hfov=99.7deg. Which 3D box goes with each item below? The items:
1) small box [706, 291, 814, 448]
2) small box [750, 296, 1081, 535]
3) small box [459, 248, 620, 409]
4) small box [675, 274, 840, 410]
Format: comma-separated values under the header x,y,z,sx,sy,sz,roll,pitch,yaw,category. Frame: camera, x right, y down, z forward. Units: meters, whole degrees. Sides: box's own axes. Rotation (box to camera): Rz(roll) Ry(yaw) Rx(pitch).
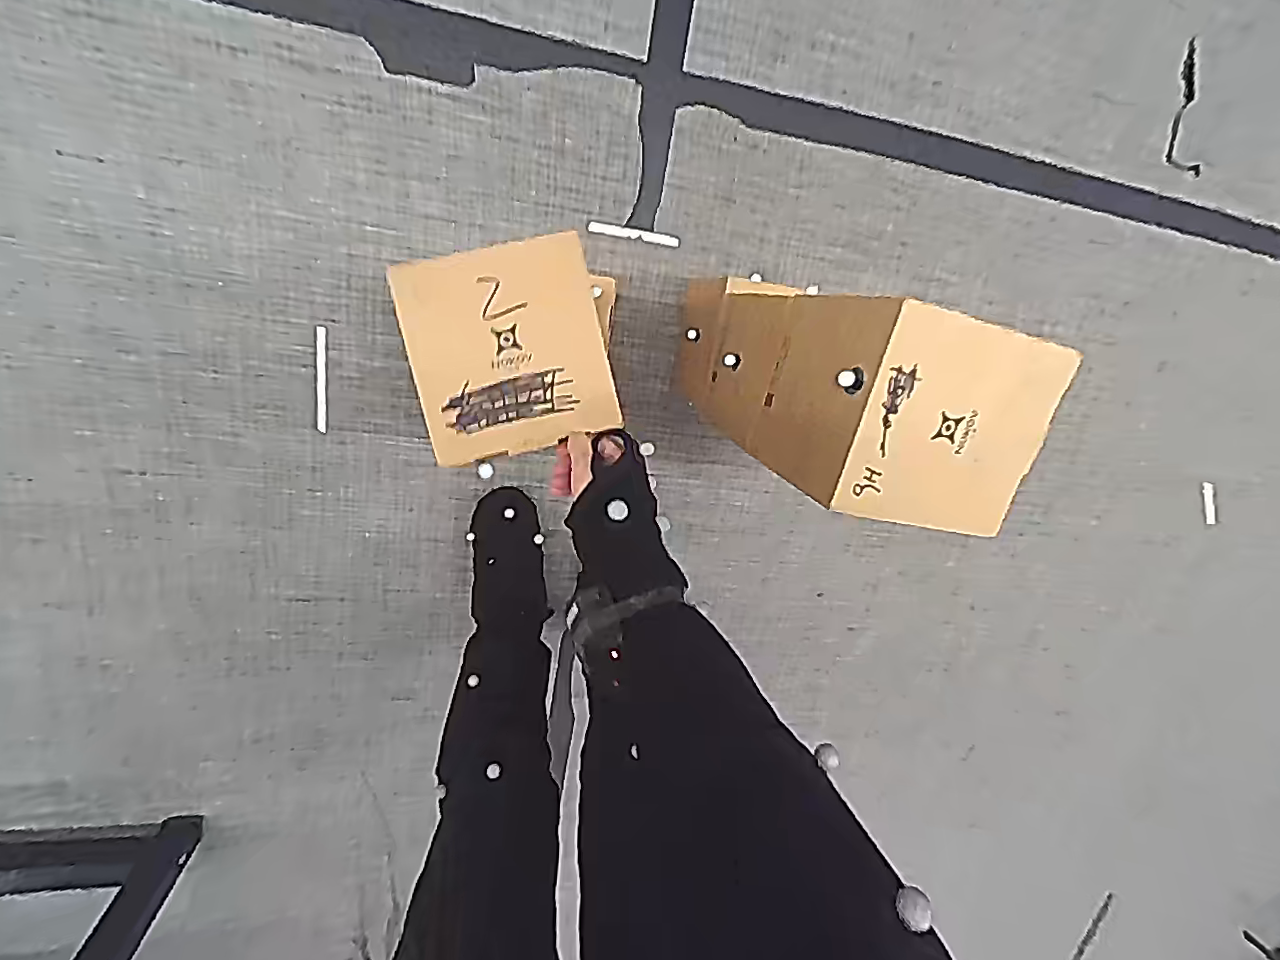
x,y,z,sx,sy,sz,roll,pitch,yaw,category
0.196,-0.124,0.647,0.179,0.176,0.168,6,109,-16,small box
0.231,-0.067,0.497,0.179,0.176,0.168,10,107,-18,small box
-0.138,-0.200,0.722,0.179,0.176,0.168,5,108,-15,small box
0.158,-0.196,0.792,0.168,0.176,0.179,4,108,-15,small box
